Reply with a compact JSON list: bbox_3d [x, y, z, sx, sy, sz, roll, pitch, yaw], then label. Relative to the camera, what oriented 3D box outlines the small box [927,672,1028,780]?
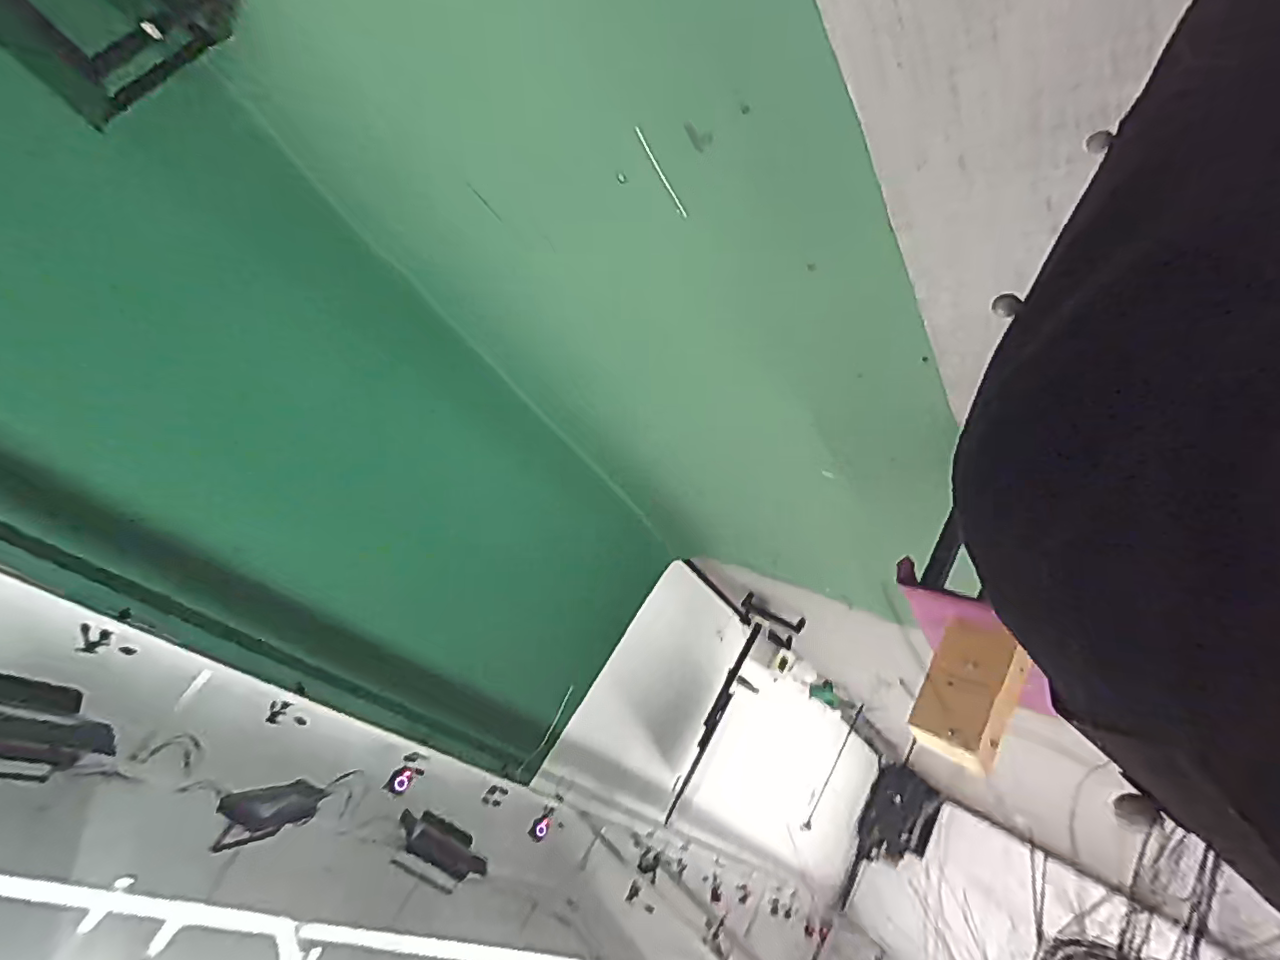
[{"bbox_3d":[0.876,0.629,1.397,0.168,0.176,0.179,9,149,50],"label":"small box"}]

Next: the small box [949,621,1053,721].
[{"bbox_3d":[0.966,0.500,1.444,0.179,0.176,0.168,10,149,51],"label":"small box"}]
